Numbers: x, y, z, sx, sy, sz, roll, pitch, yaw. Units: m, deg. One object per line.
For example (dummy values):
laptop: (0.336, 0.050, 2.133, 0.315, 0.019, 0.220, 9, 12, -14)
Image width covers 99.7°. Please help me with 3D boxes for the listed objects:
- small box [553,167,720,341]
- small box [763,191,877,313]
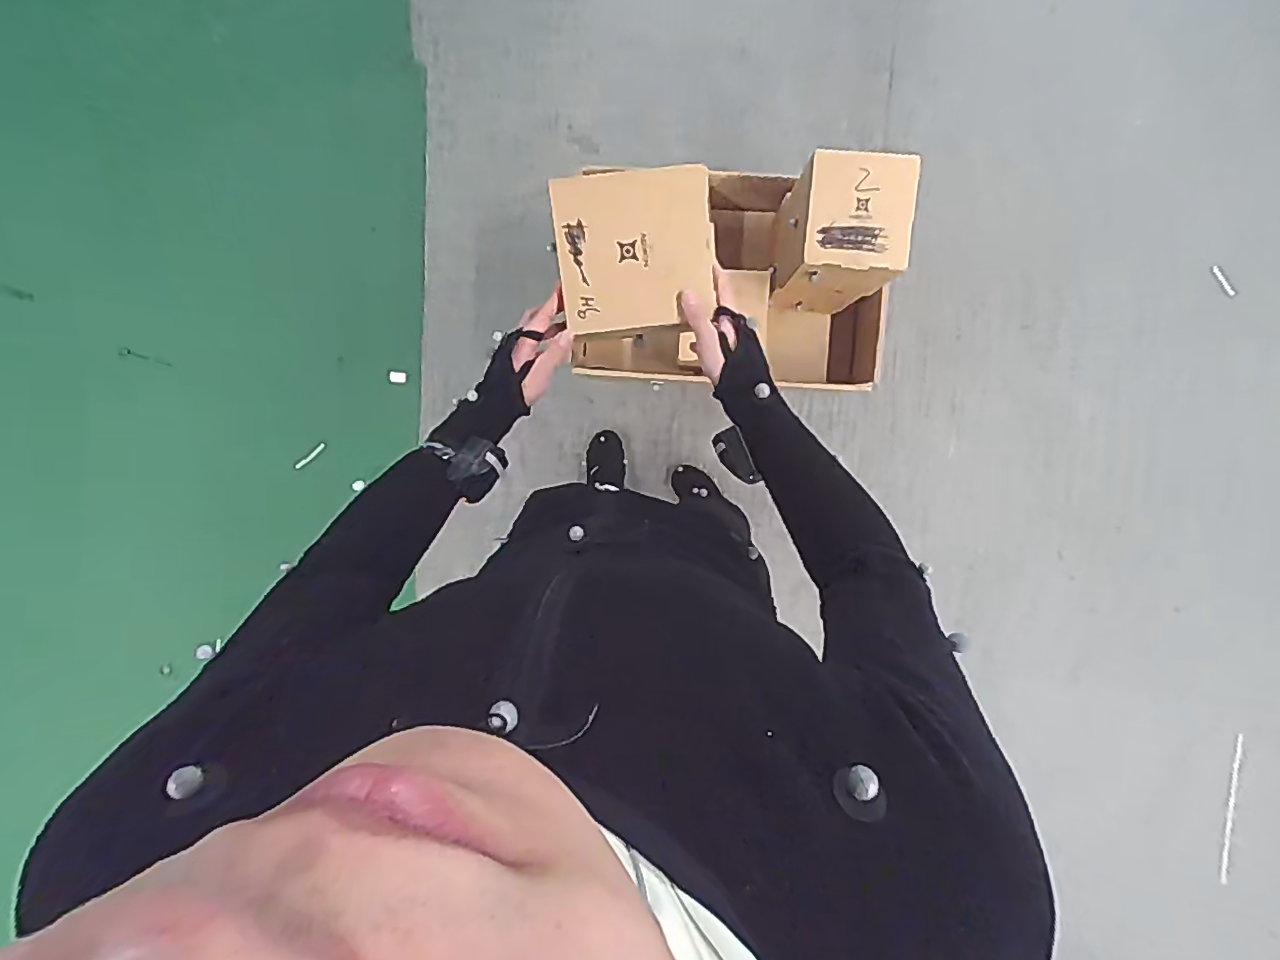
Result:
small box: (-0.008, -0.268, 0.674, 0.179, 0.176, 0.168, -6, 101, -3)
small box: (0.350, -0.448, 1.082, 0.168, 0.176, 0.179, 5, 96, 2)
